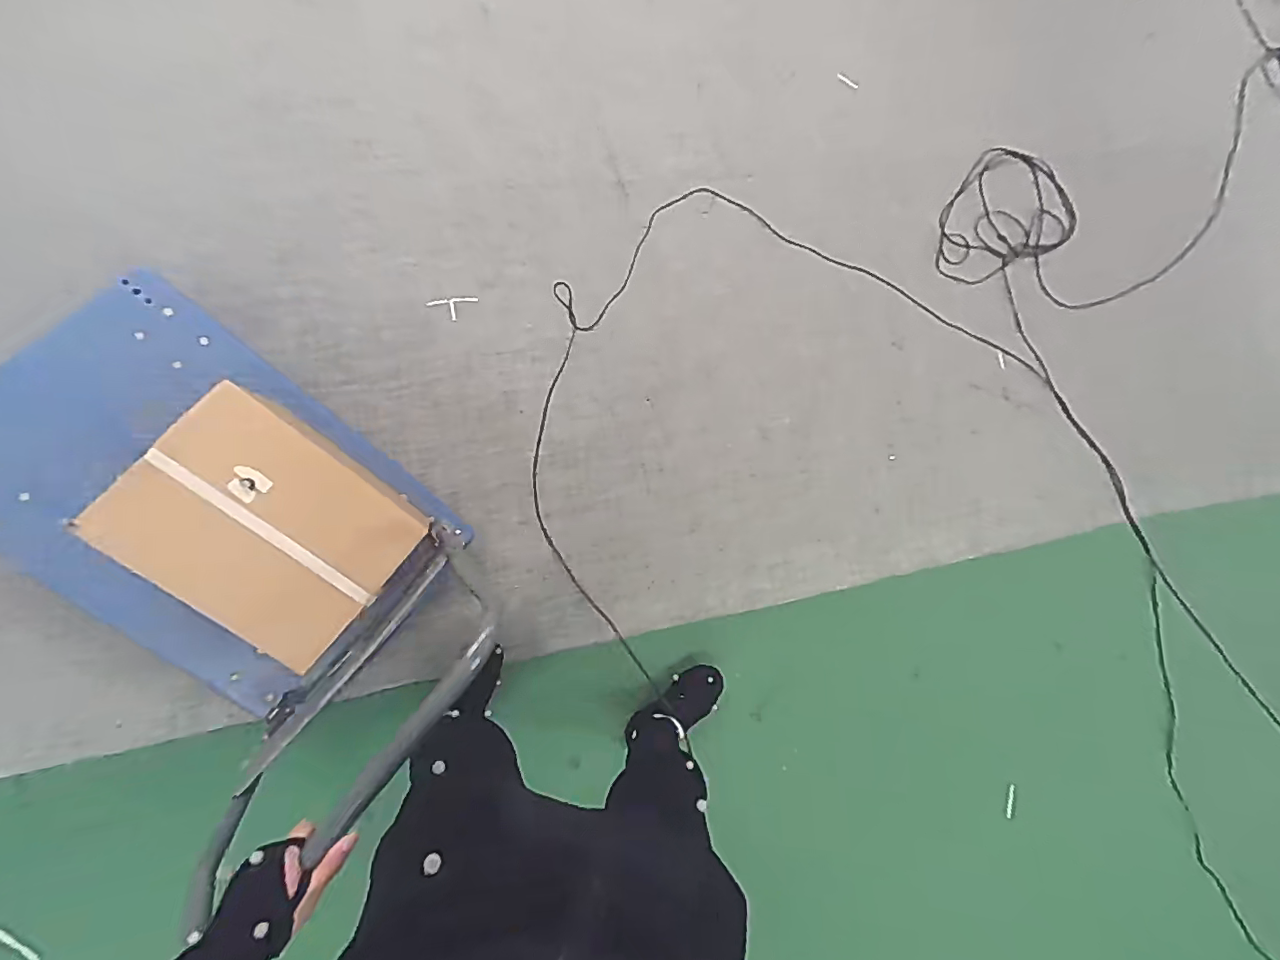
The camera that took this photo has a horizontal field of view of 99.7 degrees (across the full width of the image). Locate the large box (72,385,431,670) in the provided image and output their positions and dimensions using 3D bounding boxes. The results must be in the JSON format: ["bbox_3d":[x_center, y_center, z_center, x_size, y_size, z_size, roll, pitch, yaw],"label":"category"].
[{"bbox_3d":[-0.666,0.086,1.031,0.408,0.320,0.320,41,76,-15],"label":"large box"}]
